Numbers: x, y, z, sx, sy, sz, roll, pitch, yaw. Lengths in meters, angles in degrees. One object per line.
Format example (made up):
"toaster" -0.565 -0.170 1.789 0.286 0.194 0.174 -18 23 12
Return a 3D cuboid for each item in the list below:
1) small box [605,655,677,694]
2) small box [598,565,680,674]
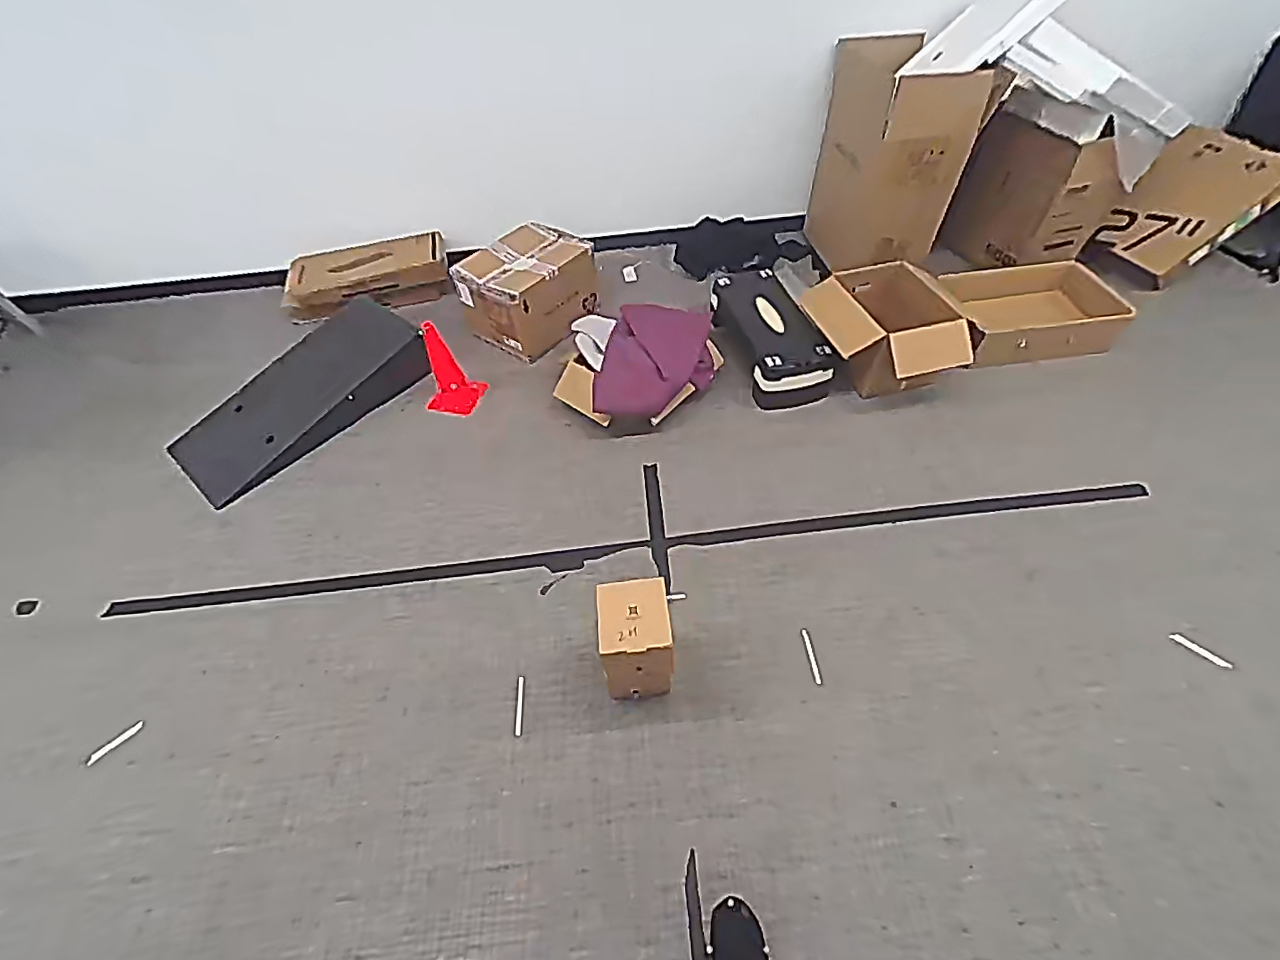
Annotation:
"small box" -0.001 0.414 1.355 0.168 0.176 0.179 -8 52 -1
"small box" -0.002 0.316 1.221 0.168 0.176 0.179 -7 51 0
